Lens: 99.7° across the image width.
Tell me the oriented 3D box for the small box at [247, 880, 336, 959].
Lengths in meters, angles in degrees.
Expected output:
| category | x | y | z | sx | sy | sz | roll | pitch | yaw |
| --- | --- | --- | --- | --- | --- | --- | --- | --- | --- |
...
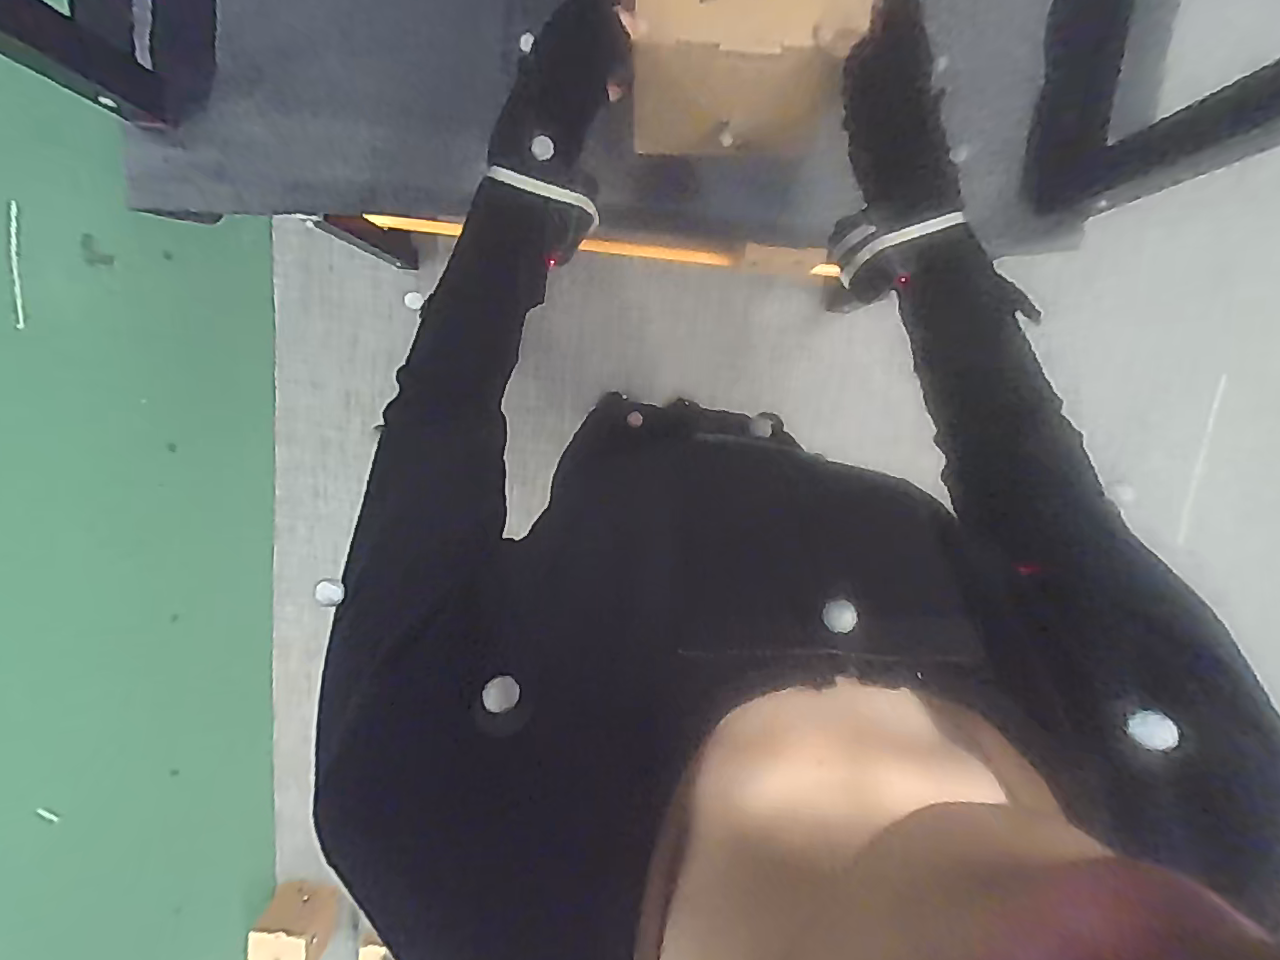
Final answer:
| category | x | y | z | sx | sy | sz | roll | pitch | yaw |
| --- | --- | --- | --- | --- | --- | --- | --- | --- | --- |
| small box | -1.040 | 1.356 | 1.623 | 0.168 | 0.176 | 0.179 | 7 | 99 | -2 |
